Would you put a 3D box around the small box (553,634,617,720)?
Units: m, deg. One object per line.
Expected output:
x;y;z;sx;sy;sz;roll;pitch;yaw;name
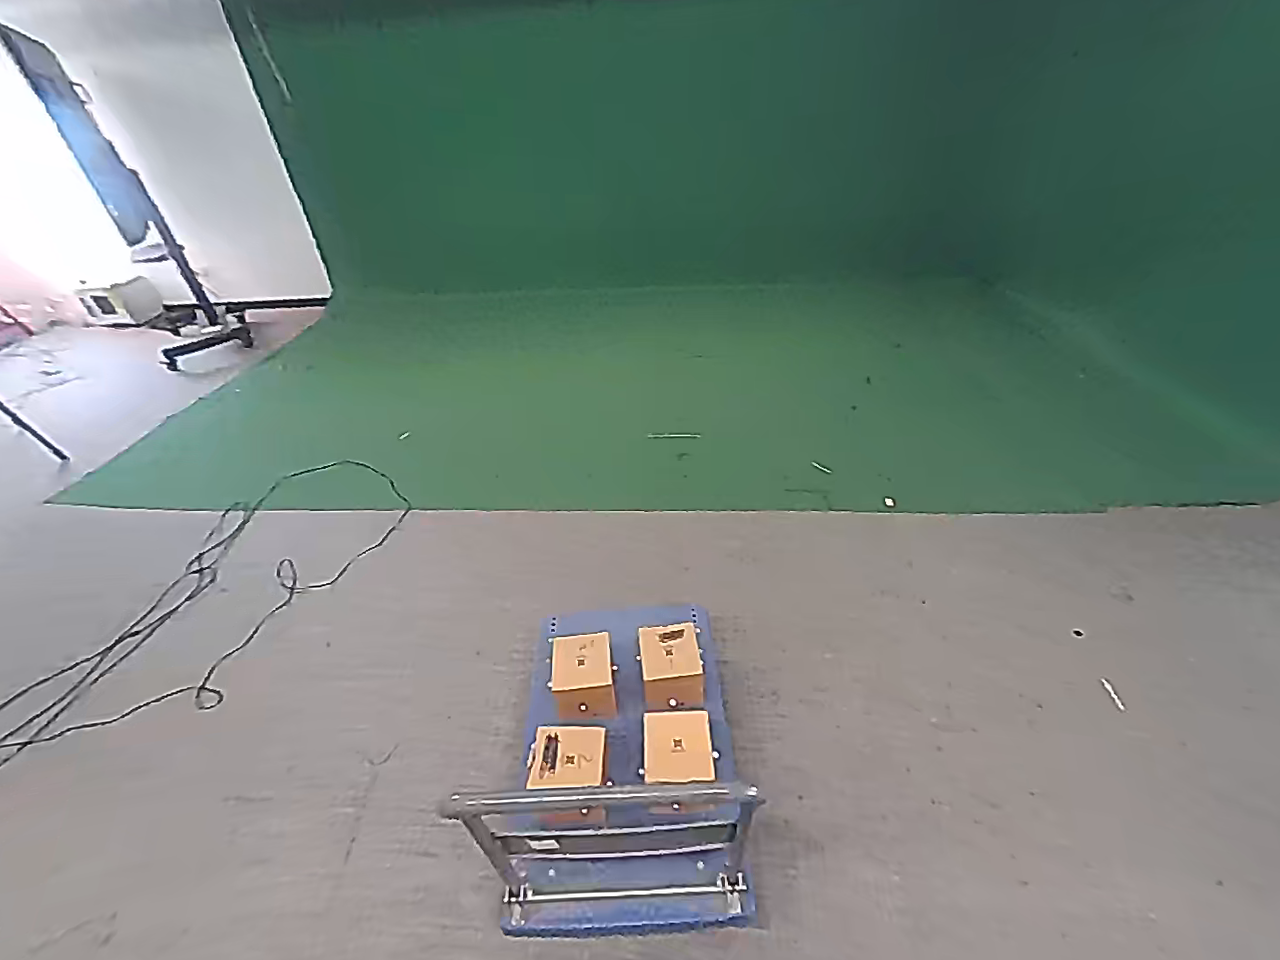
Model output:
-0.156;0.579;1.574;0.168;0.176;0.179;-5;38;-2;small box

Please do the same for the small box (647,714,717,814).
0.101;0.719;1.371;0.168;0.176;0.179;-3;38;2;small box

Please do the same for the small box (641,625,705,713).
0.094;0.552;1.584;0.168;0.176;0.179;-6;39;-1;small box
